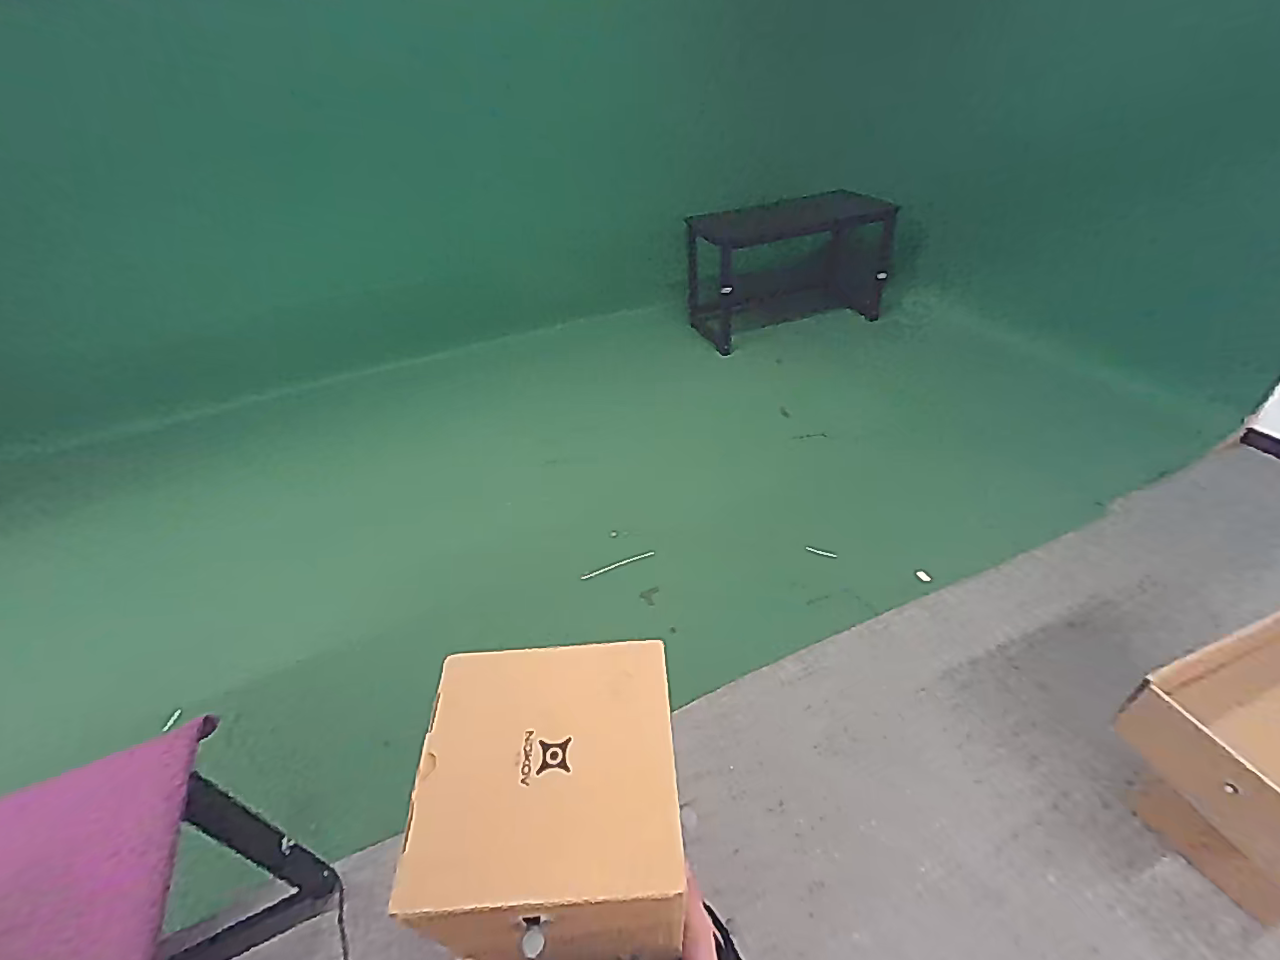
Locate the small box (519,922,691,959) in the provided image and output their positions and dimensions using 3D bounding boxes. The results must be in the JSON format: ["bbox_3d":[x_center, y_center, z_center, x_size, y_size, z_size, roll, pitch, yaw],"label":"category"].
[{"bbox_3d":[-0.033,0.477,0.653,0.179,0.176,0.168,-3,43,1],"label":"small box"}]

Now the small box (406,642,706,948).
[{"bbox_3d":[-0.048,0.246,0.422,0.179,0.176,0.168,-4,44,0],"label":"small box"}]
